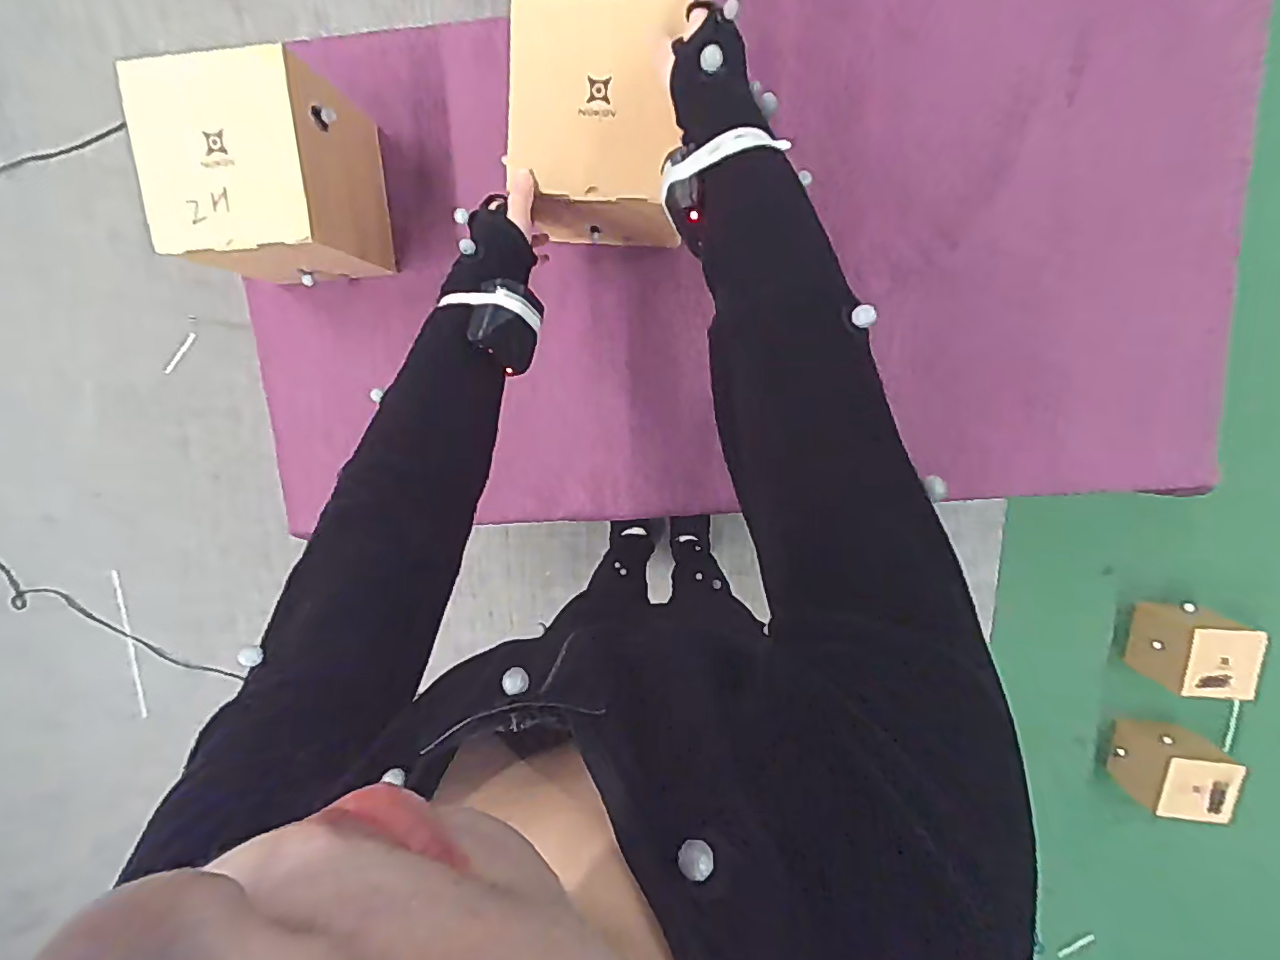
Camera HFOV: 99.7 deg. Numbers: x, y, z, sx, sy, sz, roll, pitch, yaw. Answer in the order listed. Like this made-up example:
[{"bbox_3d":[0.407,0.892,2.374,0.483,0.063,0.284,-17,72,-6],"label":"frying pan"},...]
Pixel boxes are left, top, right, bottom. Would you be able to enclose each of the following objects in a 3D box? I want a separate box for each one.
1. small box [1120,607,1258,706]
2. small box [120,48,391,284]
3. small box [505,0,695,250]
[{"bbox_3d":[1.370,0.441,1.363,0.168,0.176,0.179,3,99,3],"label":"small box"},{"bbox_3d":[-0.402,-0.327,0.599,0.168,0.176,0.179,-2,100,4],"label":"small box"},{"bbox_3d":[-0.036,-0.360,0.573,0.168,0.176,0.179,5,101,2],"label":"small box"}]
